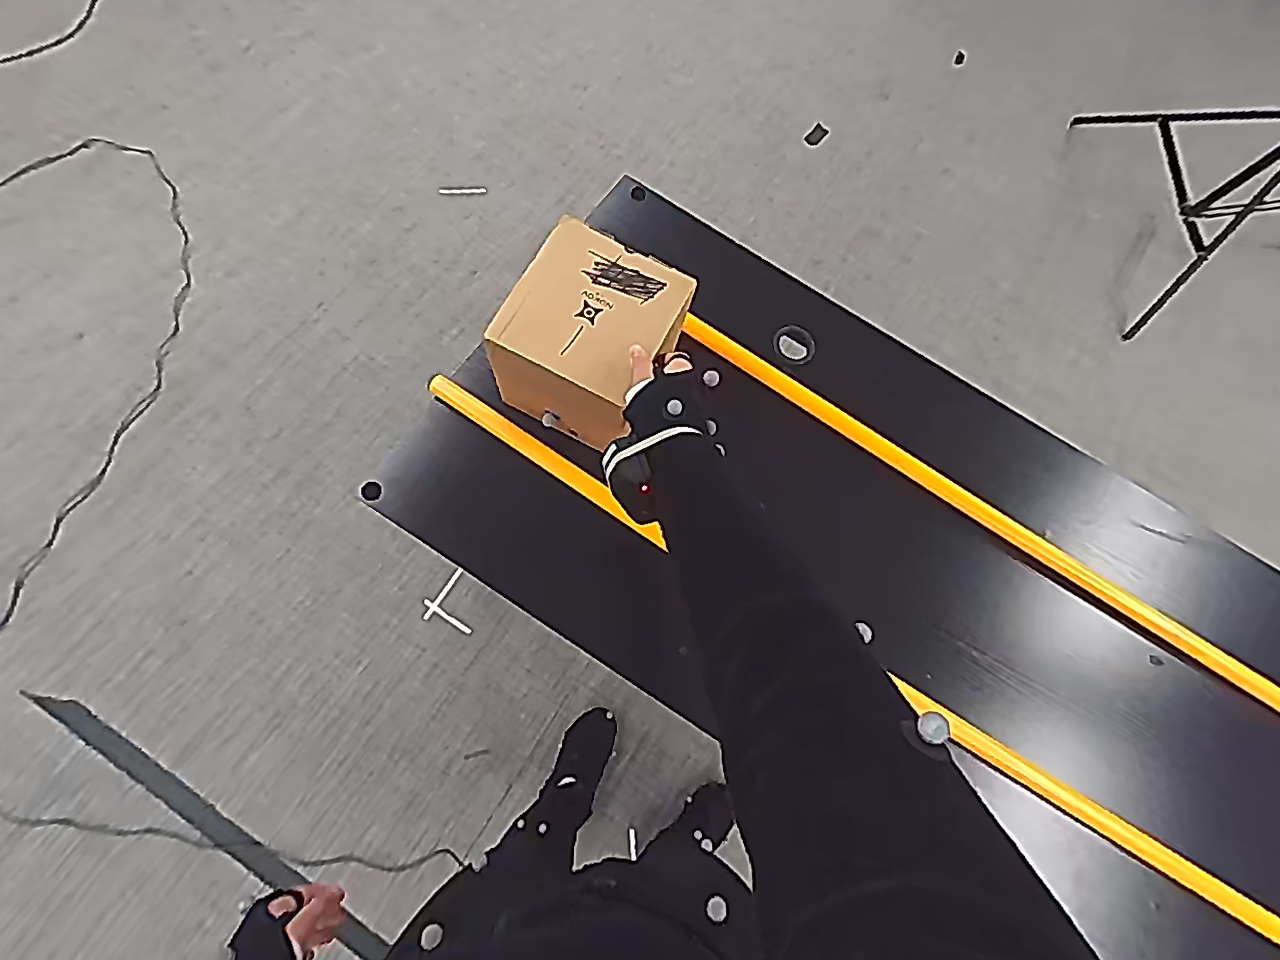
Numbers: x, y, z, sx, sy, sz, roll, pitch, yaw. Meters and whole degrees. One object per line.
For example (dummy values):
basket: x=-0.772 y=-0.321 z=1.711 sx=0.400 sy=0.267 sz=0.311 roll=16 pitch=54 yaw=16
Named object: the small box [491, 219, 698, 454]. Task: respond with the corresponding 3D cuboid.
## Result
small box: x=-0.054 y=-0.159 z=0.648 sx=0.168 sy=0.176 sz=0.179 roll=27 pitch=74 yaw=2
